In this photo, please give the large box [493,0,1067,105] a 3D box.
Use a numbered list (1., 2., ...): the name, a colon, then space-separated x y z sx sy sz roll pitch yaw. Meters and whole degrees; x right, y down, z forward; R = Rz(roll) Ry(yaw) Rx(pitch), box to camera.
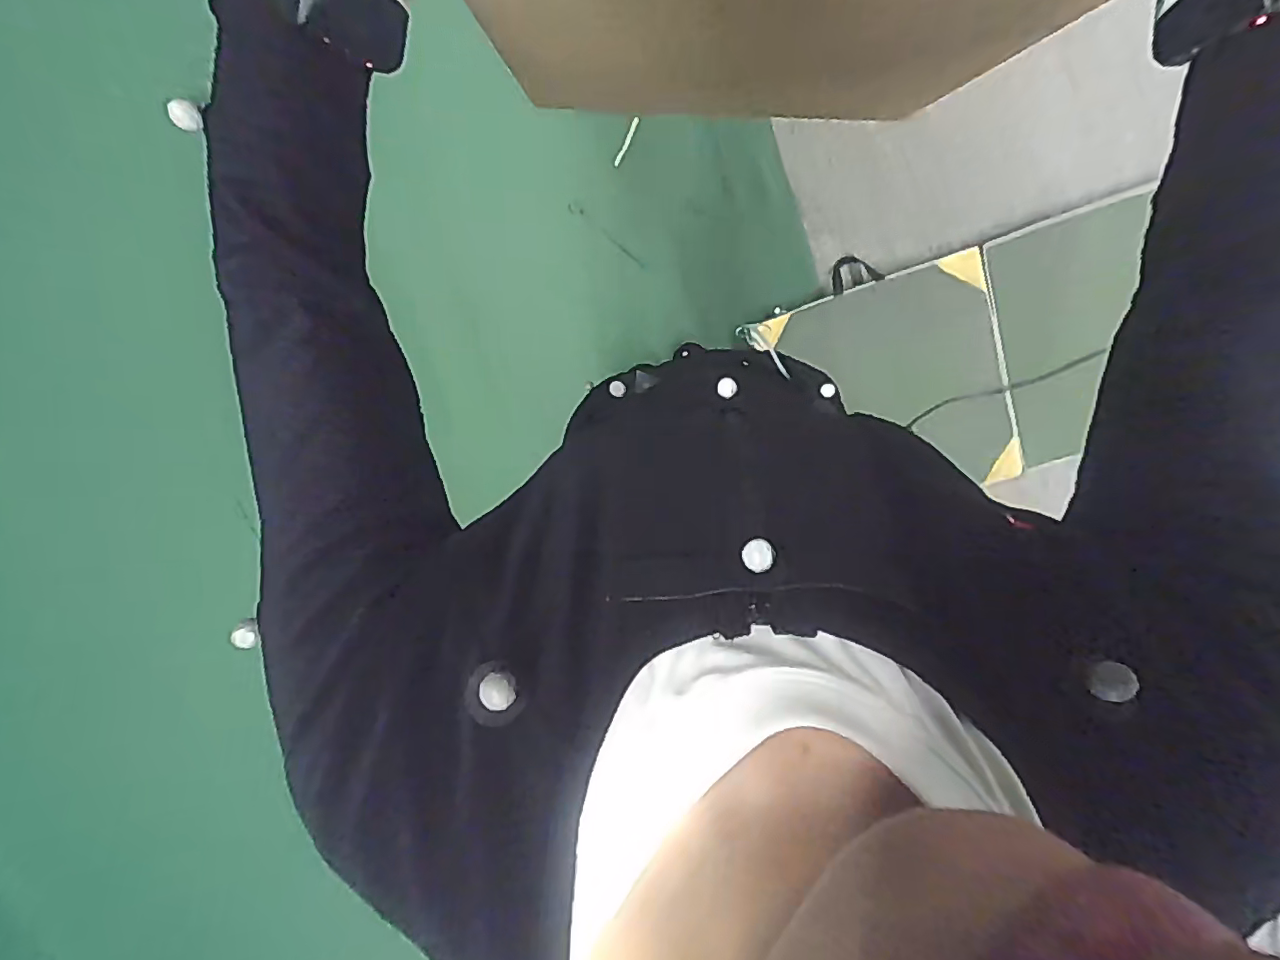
1. large box: 0.093 -0.493 0.385 0.408 0.320 0.320 1 112 -2
